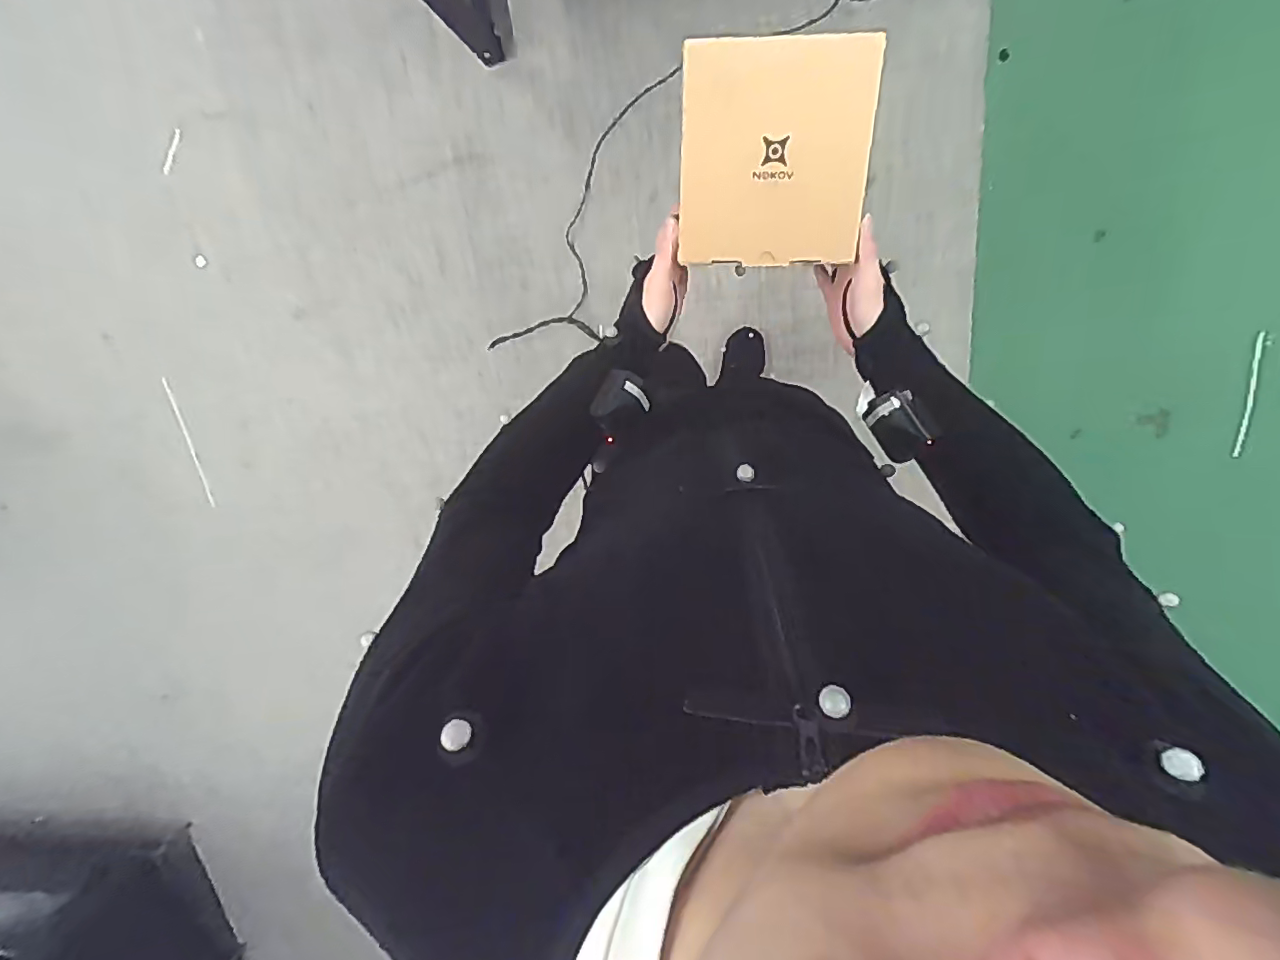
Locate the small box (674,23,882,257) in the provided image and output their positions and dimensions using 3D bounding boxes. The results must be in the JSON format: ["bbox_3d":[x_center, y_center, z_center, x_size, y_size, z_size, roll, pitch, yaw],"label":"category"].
[{"bbox_3d":[0.120,-0.322,0.547,0.168,0.176,0.179,2,114,3],"label":"small box"}]

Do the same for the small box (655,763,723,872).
[{"bbox_3d":[0.130,0.866,1.401,0.168,0.176,0.179,0,108,9],"label":"small box"}]
